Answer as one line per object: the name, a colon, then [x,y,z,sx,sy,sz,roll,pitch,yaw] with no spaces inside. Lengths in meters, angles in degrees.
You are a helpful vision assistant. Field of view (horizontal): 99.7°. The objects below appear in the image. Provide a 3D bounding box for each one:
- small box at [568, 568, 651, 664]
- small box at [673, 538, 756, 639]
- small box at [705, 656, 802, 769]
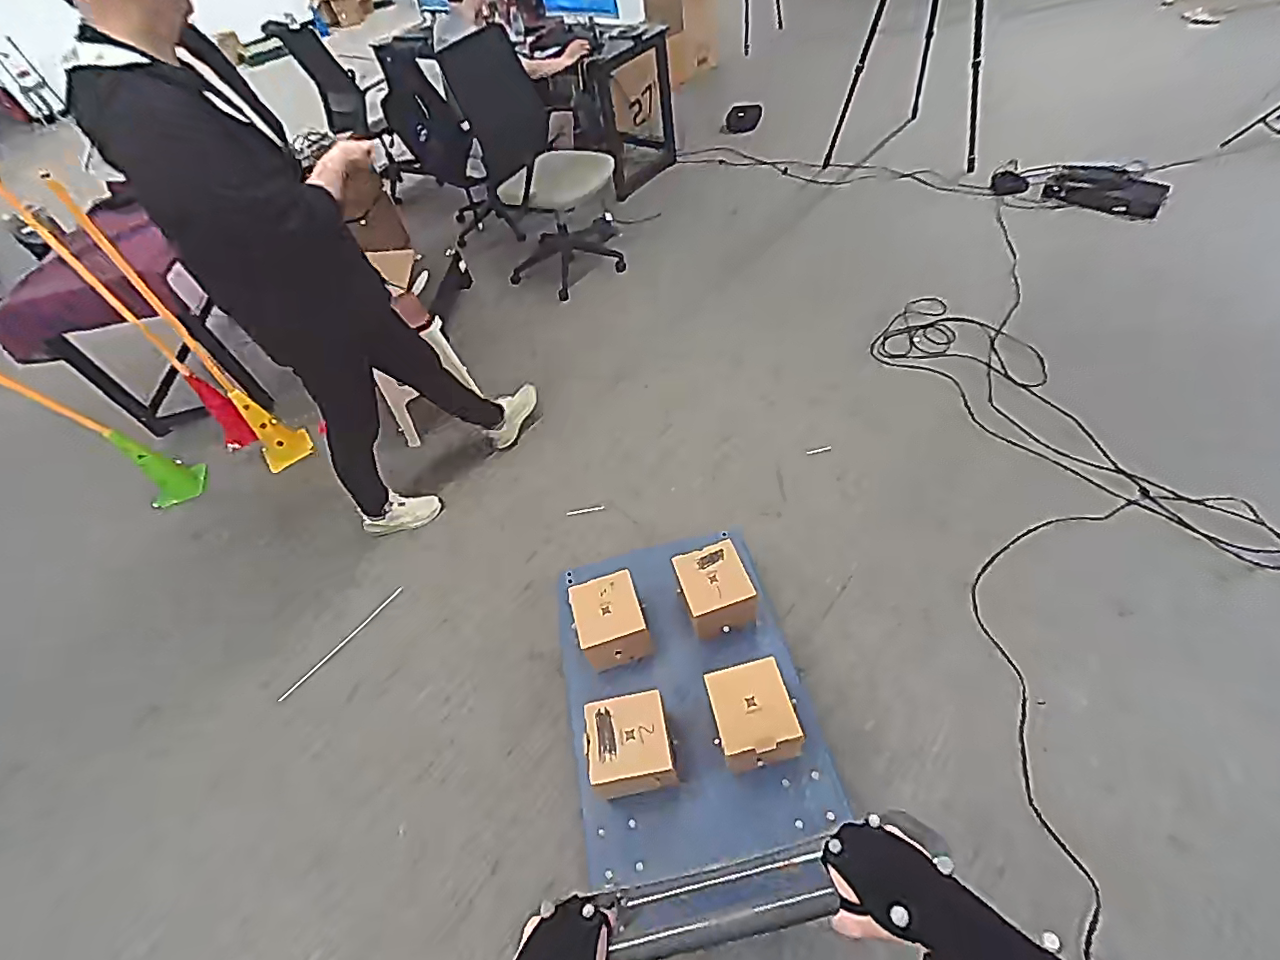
small box: [-0.075,0.362,1.407,0.168,0.176,0.179,-17,51,-4]
small box: [0.193,0.286,1.418,0.168,0.176,0.179,-18,52,-3]
small box: [0.248,0.527,1.220,0.168,0.176,0.179,-14,51,-1]
